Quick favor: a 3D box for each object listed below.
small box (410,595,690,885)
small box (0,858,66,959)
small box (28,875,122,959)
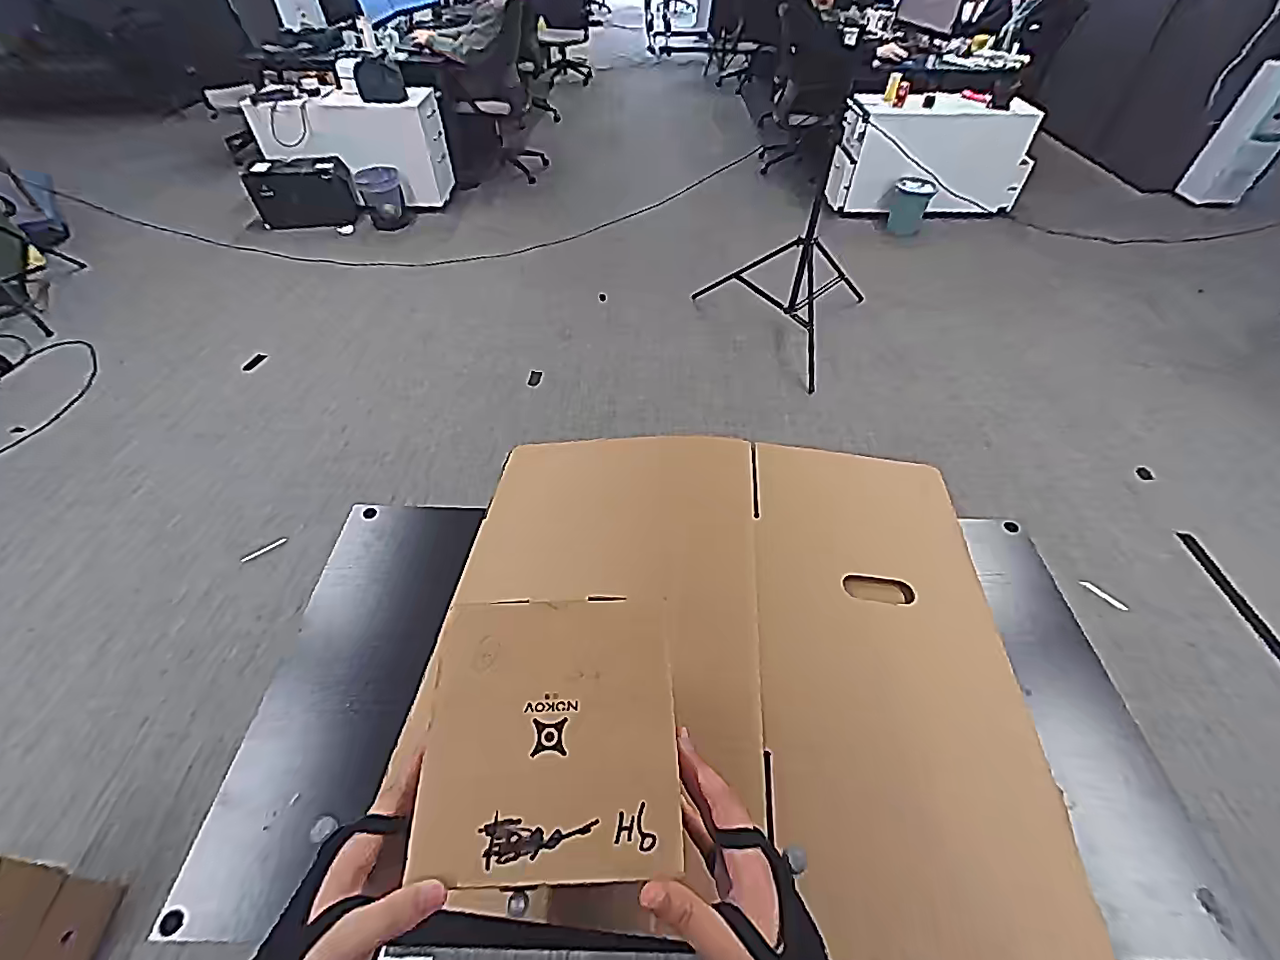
[{"bbox_3d":[-0.052,0.207,0.424,0.168,0.176,0.179,-3,54,1],"label":"small box"},{"bbox_3d":[-1.199,0.793,0.955,0.168,0.176,0.179,-4,47,-5],"label":"small box"},{"bbox_3d":[-1.199,0.906,1.072,0.168,0.176,0.179,-2,49,-3],"label":"small box"}]
